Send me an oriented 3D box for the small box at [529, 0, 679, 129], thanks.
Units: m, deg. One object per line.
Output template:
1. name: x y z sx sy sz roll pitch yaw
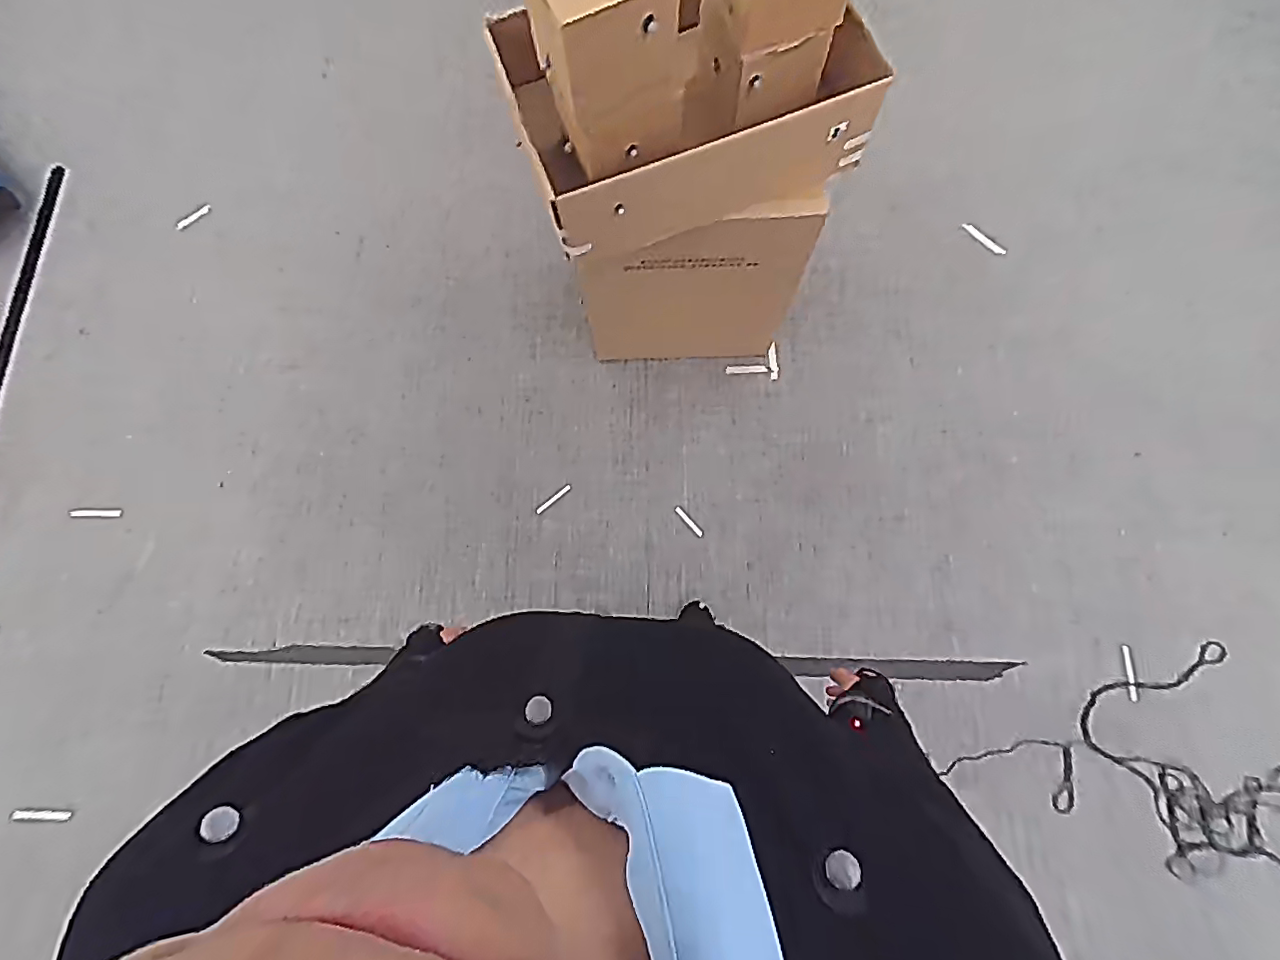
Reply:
1. small box: -0.057 -0.675 0.801 0.179 0.176 0.168 -25 78 -4

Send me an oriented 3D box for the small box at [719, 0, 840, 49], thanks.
1. small box: 0.215 -0.808 0.822 0.179 0.176 0.168 -17 78 -1
